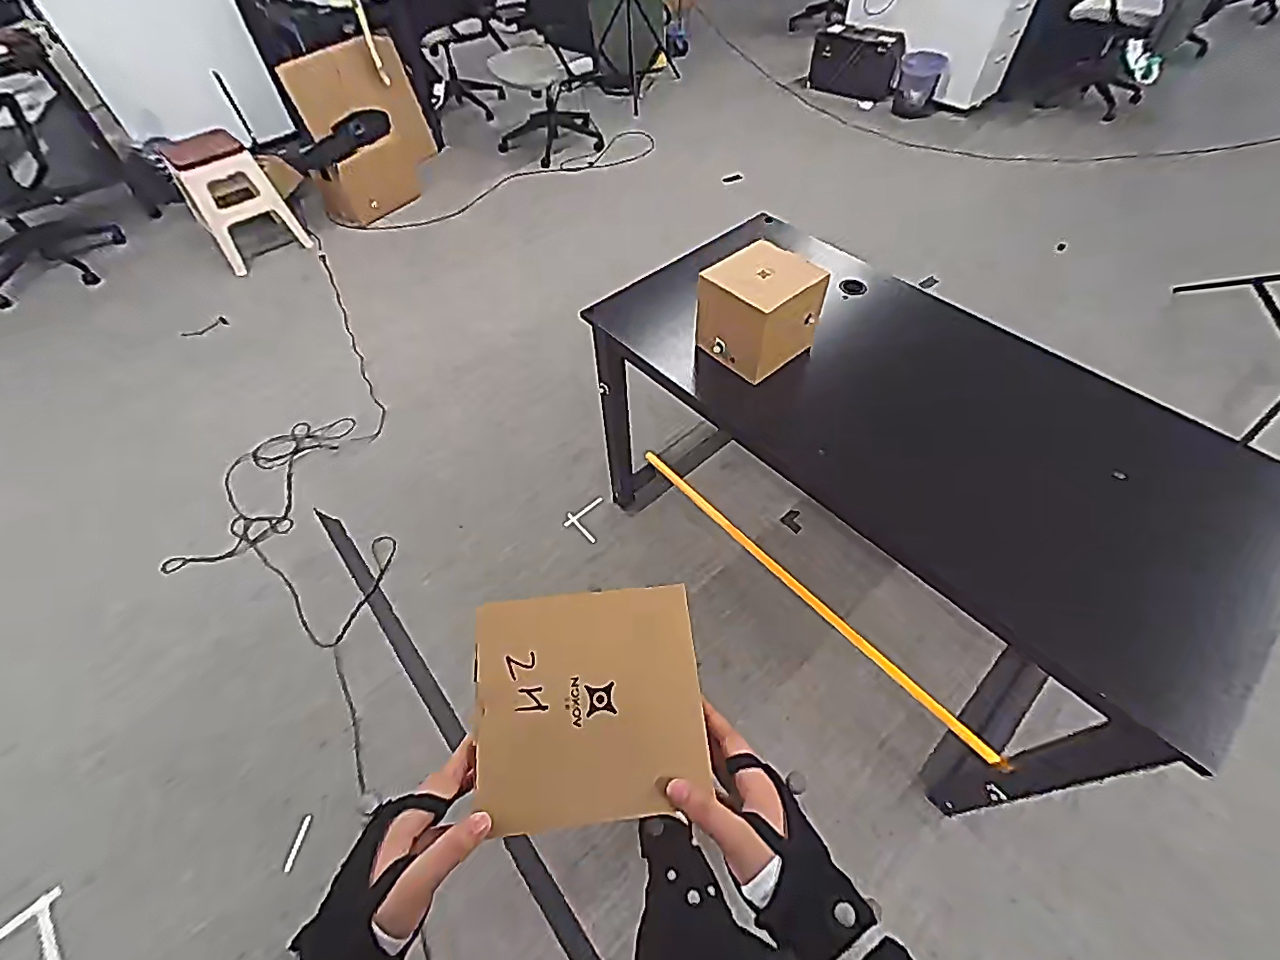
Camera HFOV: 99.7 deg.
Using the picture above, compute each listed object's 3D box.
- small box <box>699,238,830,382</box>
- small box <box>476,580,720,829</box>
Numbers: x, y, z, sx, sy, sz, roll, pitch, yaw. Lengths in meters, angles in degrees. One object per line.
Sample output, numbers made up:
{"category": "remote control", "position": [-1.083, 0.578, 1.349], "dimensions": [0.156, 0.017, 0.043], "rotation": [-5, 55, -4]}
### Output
{"category": "small box", "position": [0.225, -0.321, 1.031], "dimensions": [0.179, 0.176, 0.168], "rotation": [-37, 59, -22]}
{"category": "small box", "position": [-0.041, 0.196, 0.486], "dimensions": [0.179, 0.176, 0.168], "rotation": [-4, 65, -6]}
